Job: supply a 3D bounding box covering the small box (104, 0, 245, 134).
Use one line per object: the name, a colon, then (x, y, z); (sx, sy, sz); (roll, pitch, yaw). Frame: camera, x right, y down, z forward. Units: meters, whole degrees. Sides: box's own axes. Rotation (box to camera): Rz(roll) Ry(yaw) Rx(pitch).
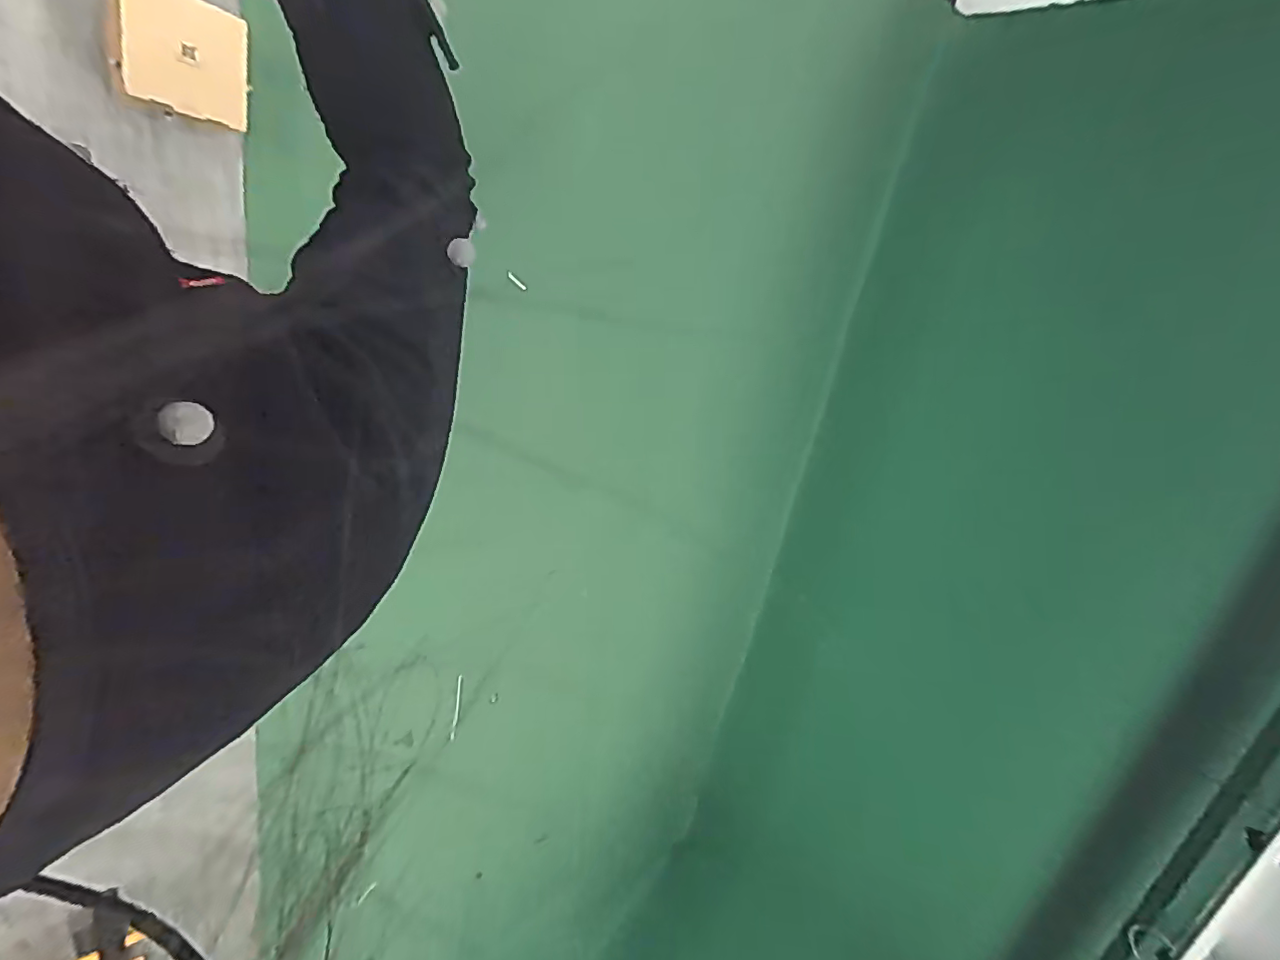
small box: (-0.819, -0.738, 0.954); (0.168, 0.176, 0.179); (-7, 116, -48)
